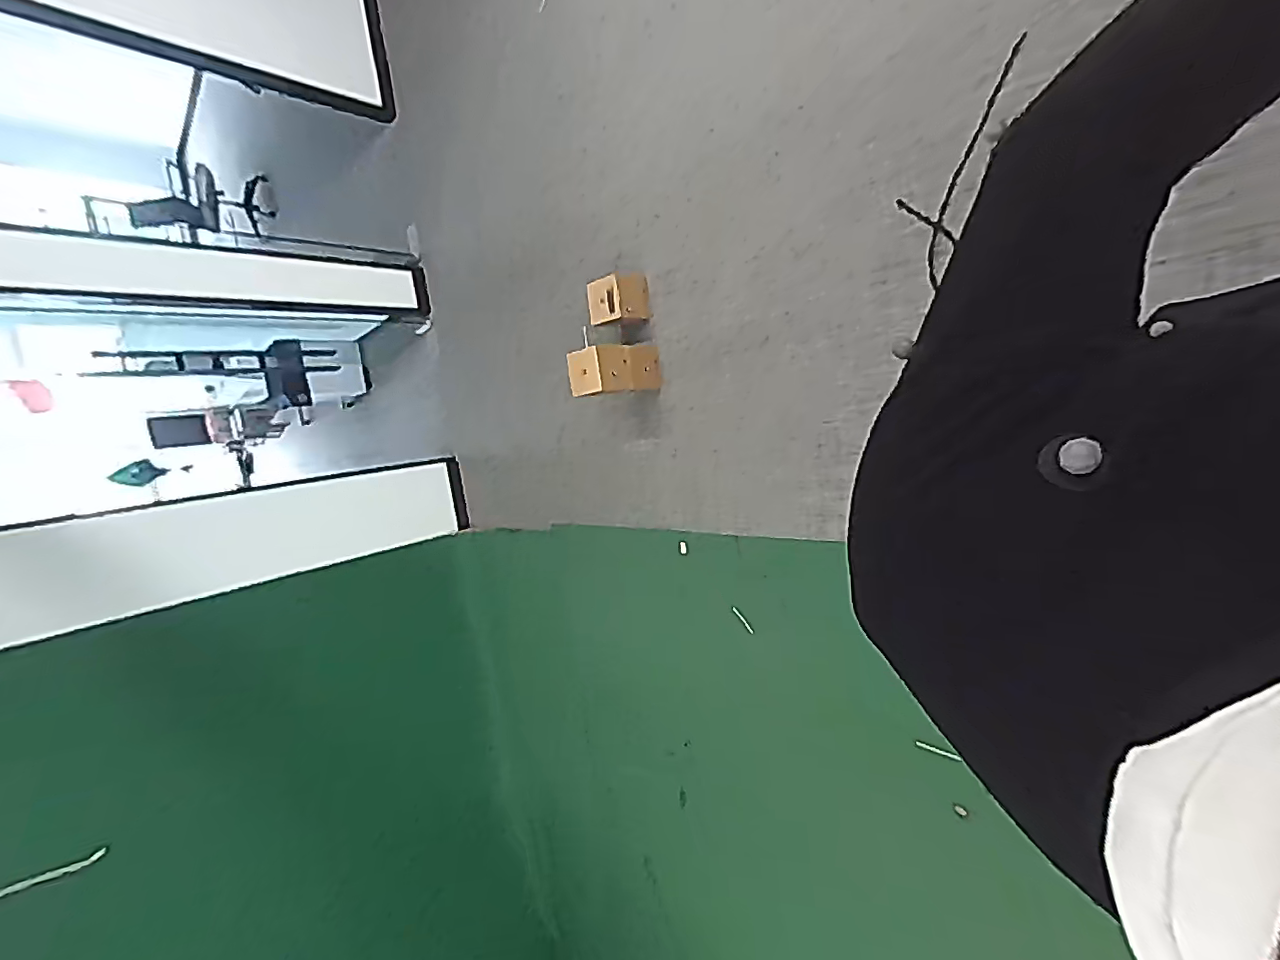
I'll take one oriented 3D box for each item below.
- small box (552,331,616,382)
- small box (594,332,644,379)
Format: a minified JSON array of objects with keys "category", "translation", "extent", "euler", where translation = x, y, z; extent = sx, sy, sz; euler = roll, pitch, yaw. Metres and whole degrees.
[{"category":"small box","translation":[-0.206,-0.470,2.051],"extent":[0.179,0.176,0.168],"euler":[-1,100,45]},{"category":"small box","translation":[-0.095,-0.498,2.166],"extent":[0.179,0.176,0.168],"euler":[2,101,44]}]
